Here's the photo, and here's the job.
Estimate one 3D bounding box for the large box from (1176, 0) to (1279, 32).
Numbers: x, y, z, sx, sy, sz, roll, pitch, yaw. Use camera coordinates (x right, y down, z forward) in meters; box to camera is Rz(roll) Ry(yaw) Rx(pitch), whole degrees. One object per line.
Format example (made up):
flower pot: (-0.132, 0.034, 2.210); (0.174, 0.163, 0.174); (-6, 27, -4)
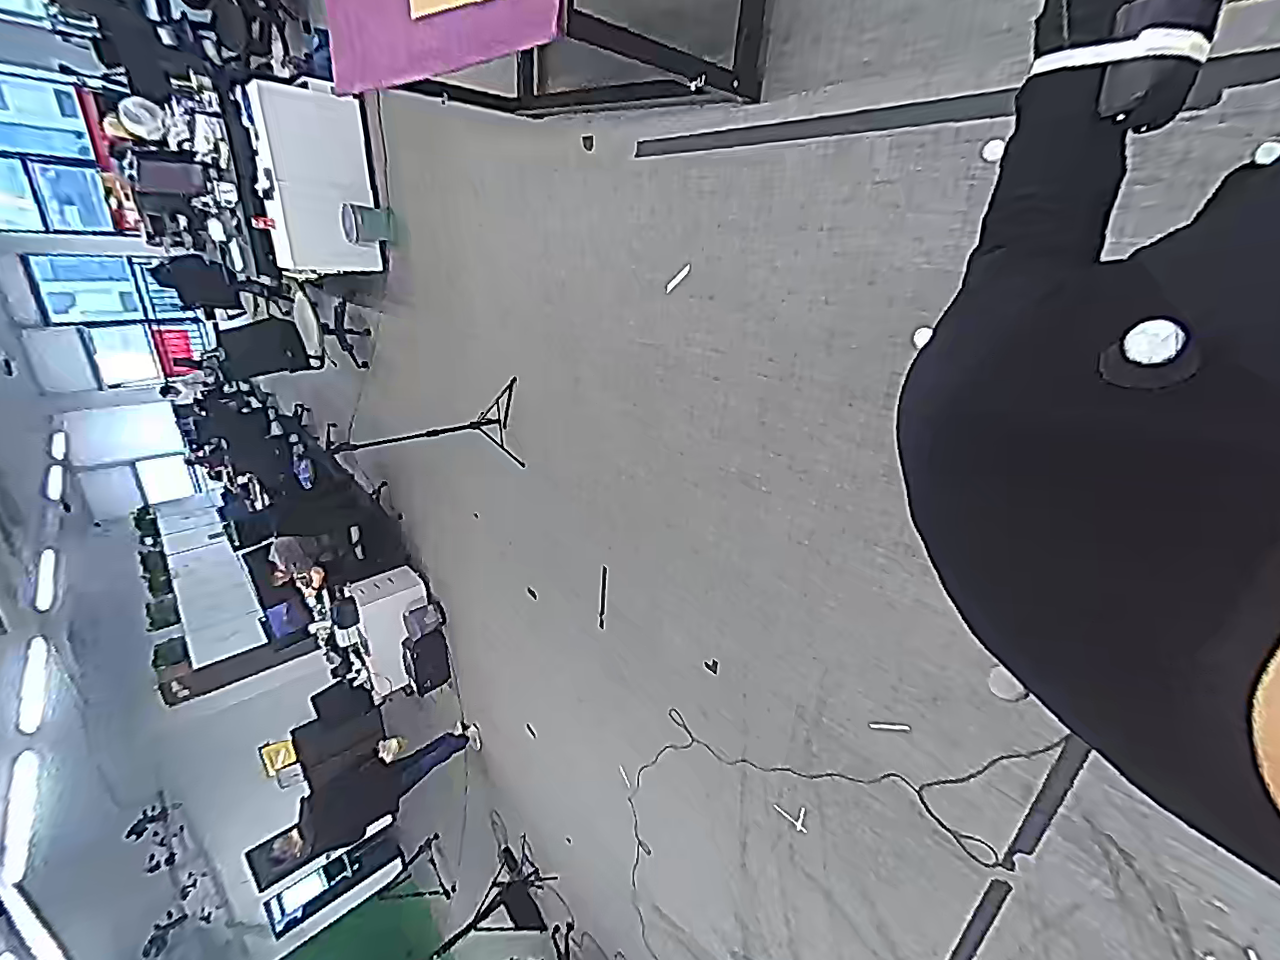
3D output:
large box: (0.546, -0.434, 0.219); (0.408, 0.320, 0.320); (23, 131, 40)
